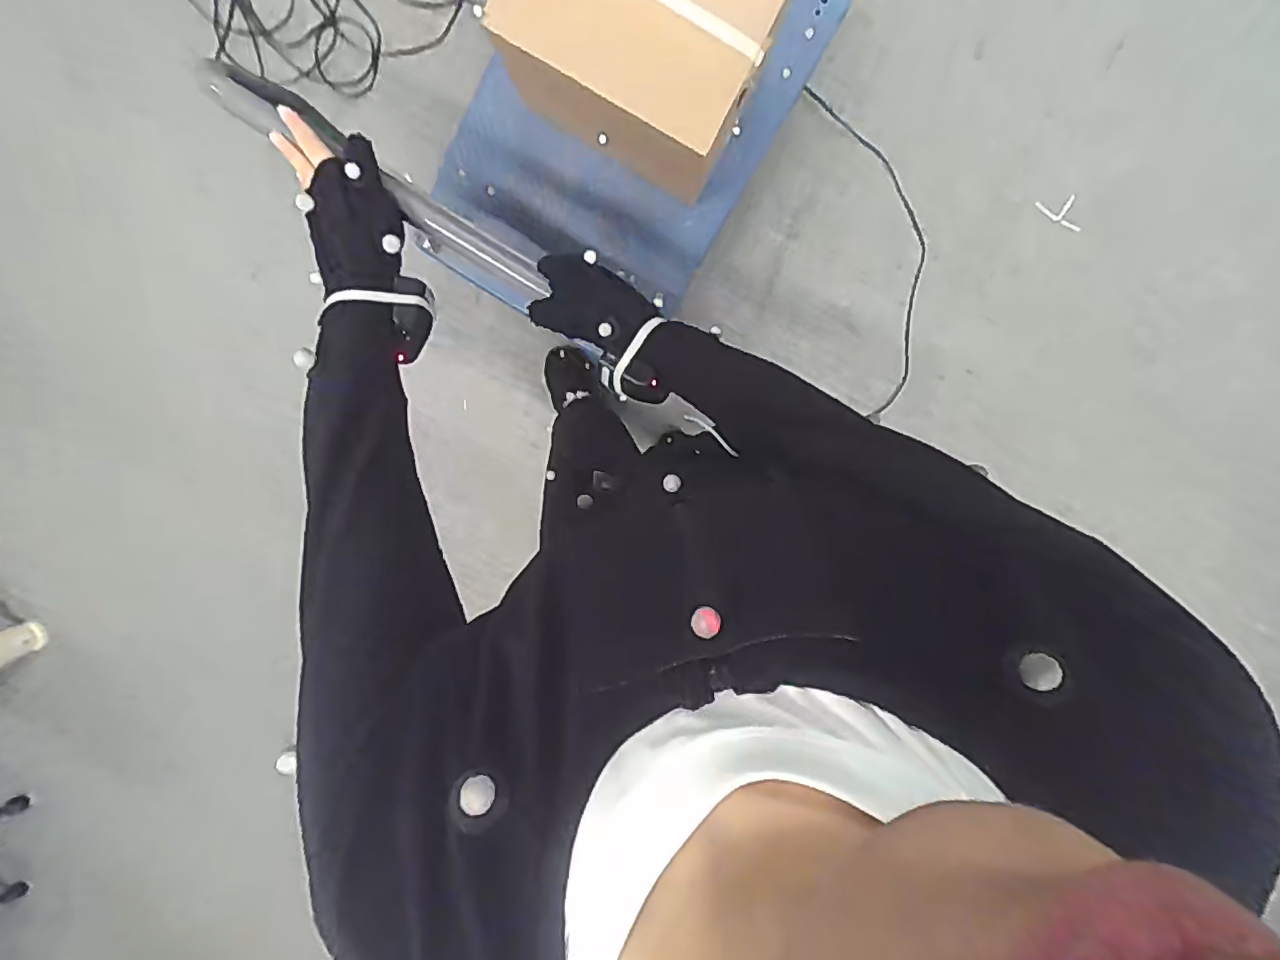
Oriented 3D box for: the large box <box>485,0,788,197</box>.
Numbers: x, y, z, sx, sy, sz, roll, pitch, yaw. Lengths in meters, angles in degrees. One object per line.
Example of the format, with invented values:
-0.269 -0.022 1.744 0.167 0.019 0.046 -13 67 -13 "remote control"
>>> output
0.010 -0.783 0.964 0.408 0.320 0.320 29 102 -4 "large box"
